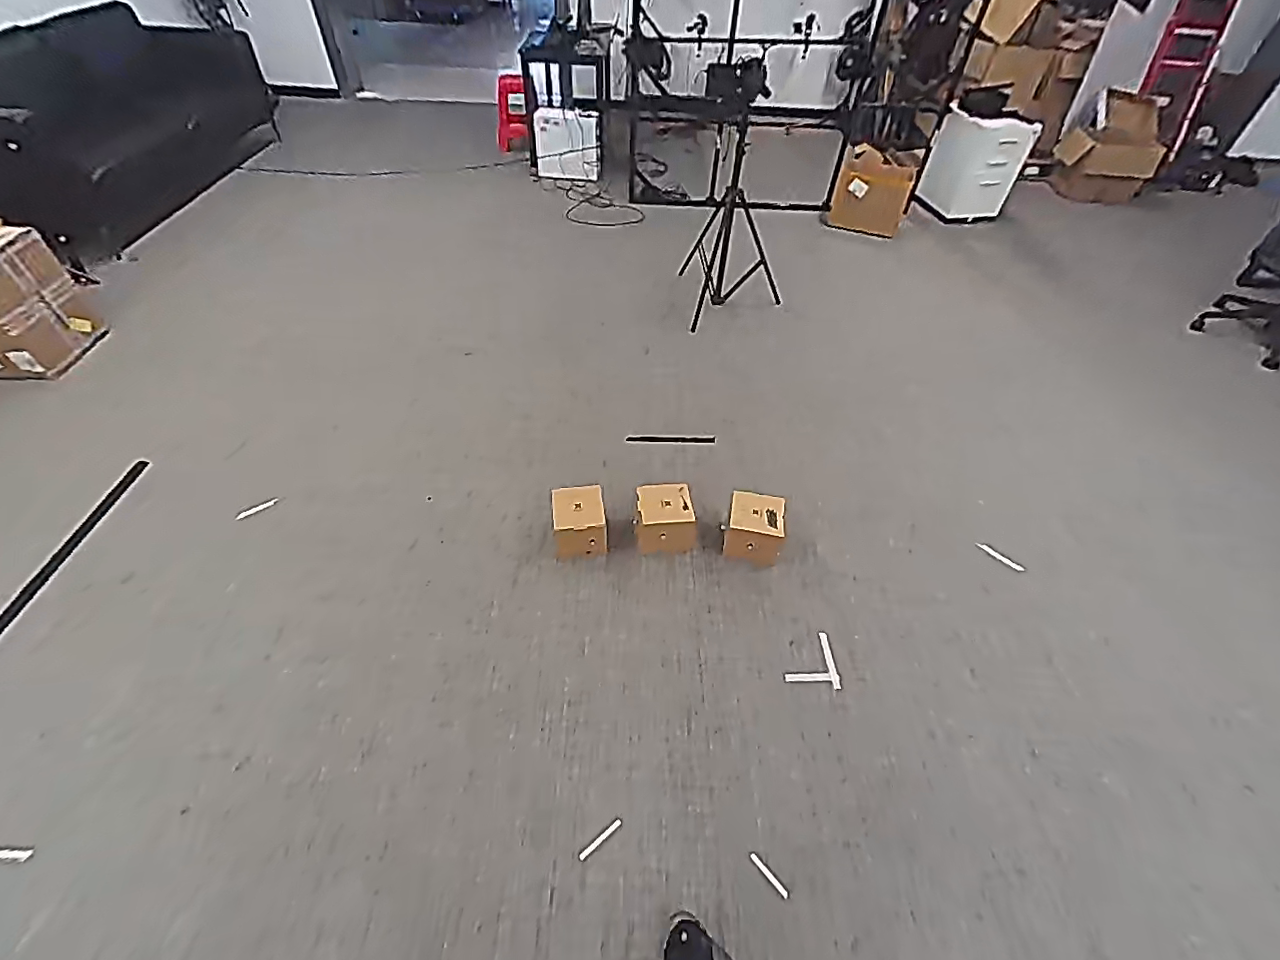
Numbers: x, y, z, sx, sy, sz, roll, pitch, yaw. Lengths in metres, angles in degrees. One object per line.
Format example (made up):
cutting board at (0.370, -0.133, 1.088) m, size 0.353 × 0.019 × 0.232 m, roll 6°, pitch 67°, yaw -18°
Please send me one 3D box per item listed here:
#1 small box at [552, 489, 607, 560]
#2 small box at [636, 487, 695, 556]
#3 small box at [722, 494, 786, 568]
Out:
small box at (-0.202, 0.154, 1.812) m, size 0.168 × 0.176 × 0.179 m, roll -5°, pitch 47°, yaw -8°
small box at (0.081, 0.144, 1.833) m, size 0.179 × 0.176 × 0.168 m, roll -4°, pitch 48°, yaw -6°
small box at (0.383, 0.175, 1.820) m, size 0.179 × 0.176 × 0.168 m, roll 9°, pitch 47°, yaw 7°
